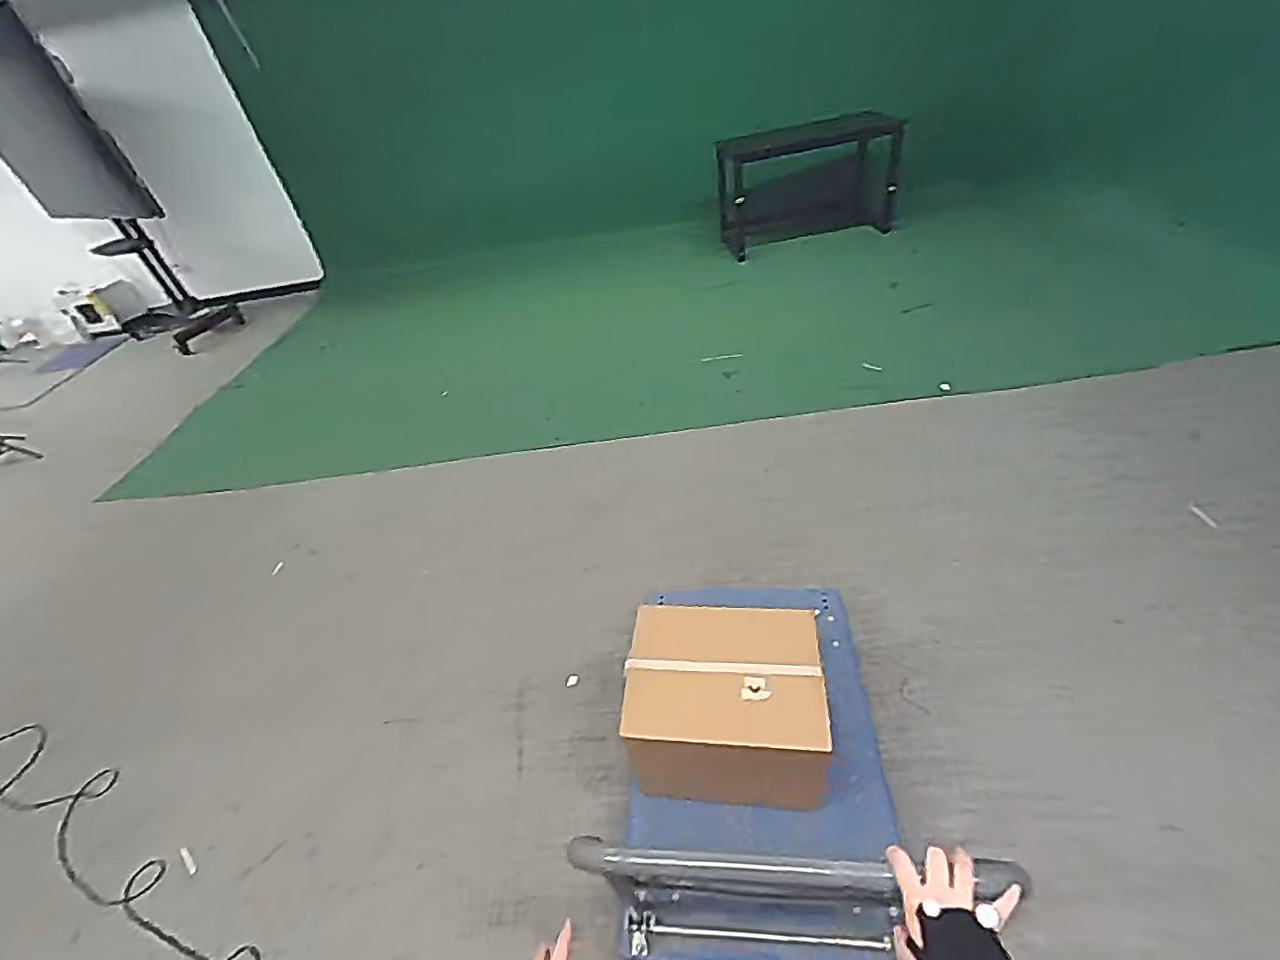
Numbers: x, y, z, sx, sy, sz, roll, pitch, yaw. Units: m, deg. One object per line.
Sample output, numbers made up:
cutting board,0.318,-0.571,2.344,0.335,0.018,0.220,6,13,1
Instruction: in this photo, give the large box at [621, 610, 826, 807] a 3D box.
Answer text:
large box,0.188,0.523,1.253,0.408,0.320,0.320,0,41,10
